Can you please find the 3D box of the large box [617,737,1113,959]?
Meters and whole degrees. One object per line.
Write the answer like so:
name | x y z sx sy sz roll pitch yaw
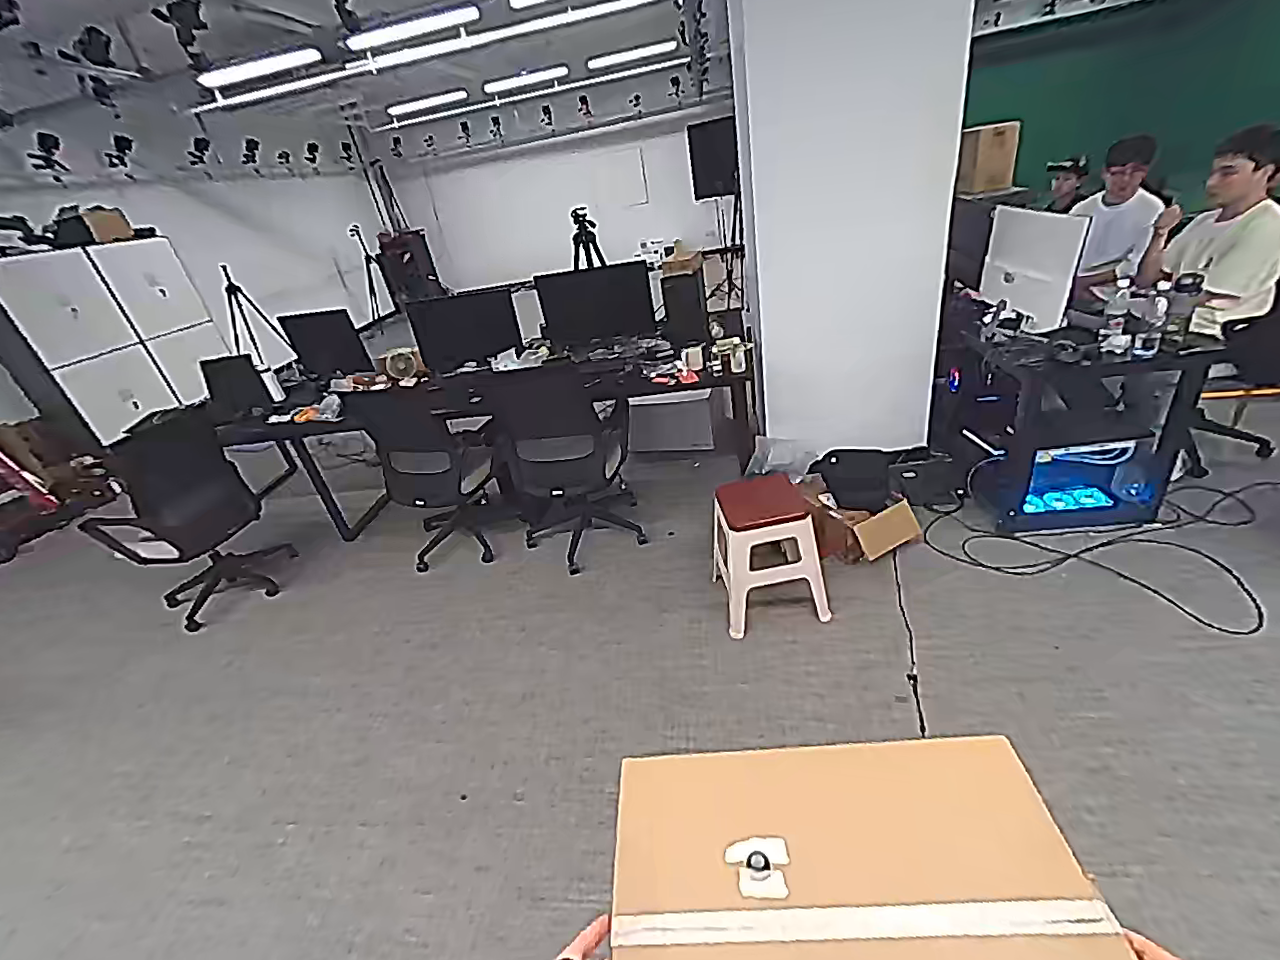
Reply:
large box | 0.202 0.506 0.547 0.408 0.320 0.320 -8 33 7
